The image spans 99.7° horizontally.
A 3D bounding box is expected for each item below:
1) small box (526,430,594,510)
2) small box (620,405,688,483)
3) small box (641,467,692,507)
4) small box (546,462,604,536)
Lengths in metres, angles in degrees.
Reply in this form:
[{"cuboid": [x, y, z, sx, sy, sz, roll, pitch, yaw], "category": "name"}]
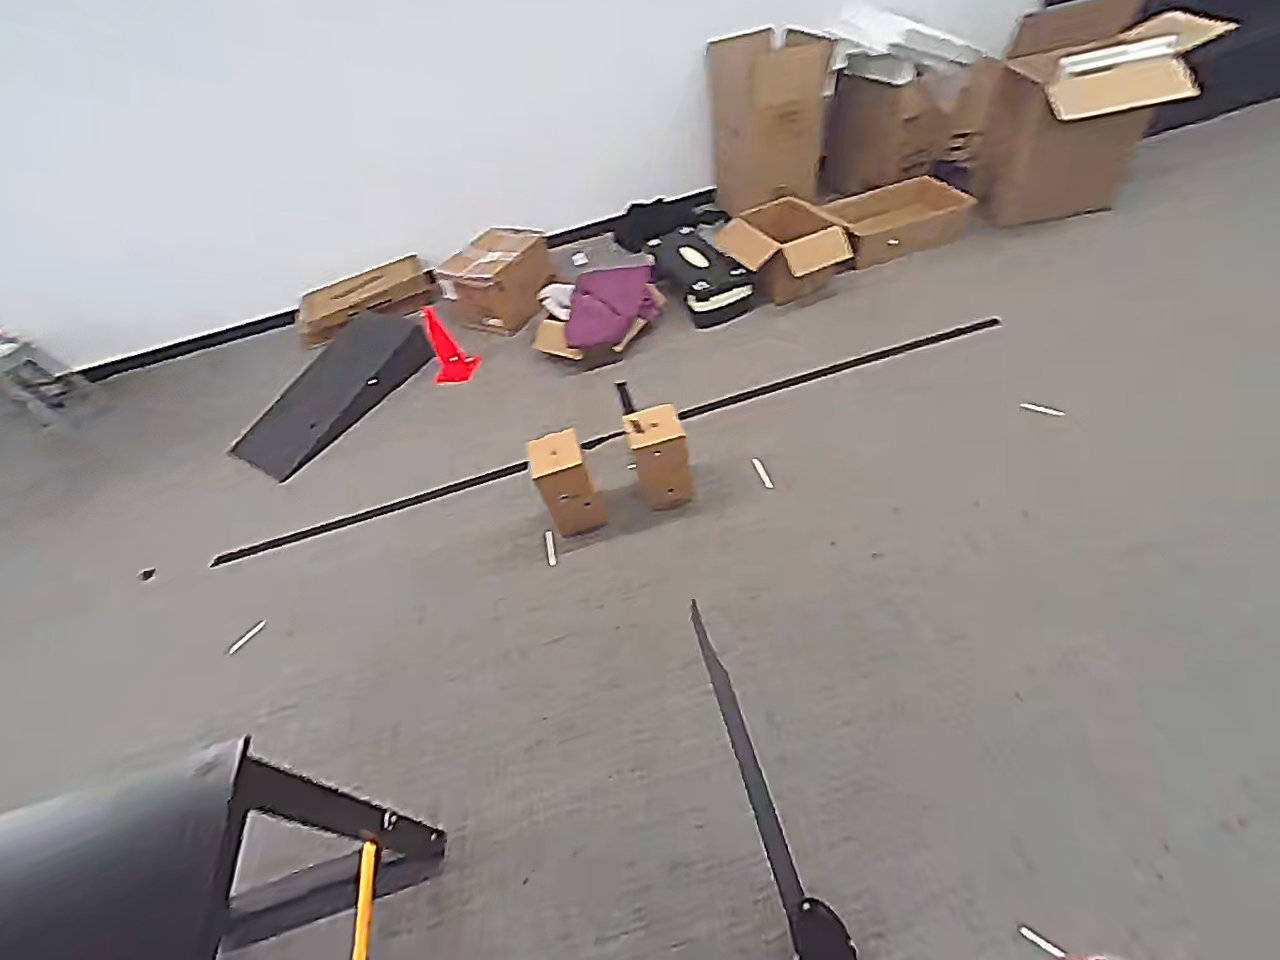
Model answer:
[{"cuboid": [-0.263, -0.031, 1.786, 0.168, 0.176, 0.179, -19, 49, -1], "category": "small box"}, {"cuboid": [0.048, -0.116, 1.786, 0.179, 0.176, 0.168, -17, 48, -3], "category": "small box"}, {"cuboid": [0.081, -0.022, 1.920, 0.168, 0.176, 0.179, -16, 48, -1], "category": "small box"}, {"cuboid": [-0.233, 0.070, 1.909, 0.179, 0.176, 0.168, -19, 47, -3], "category": "small box"}]
